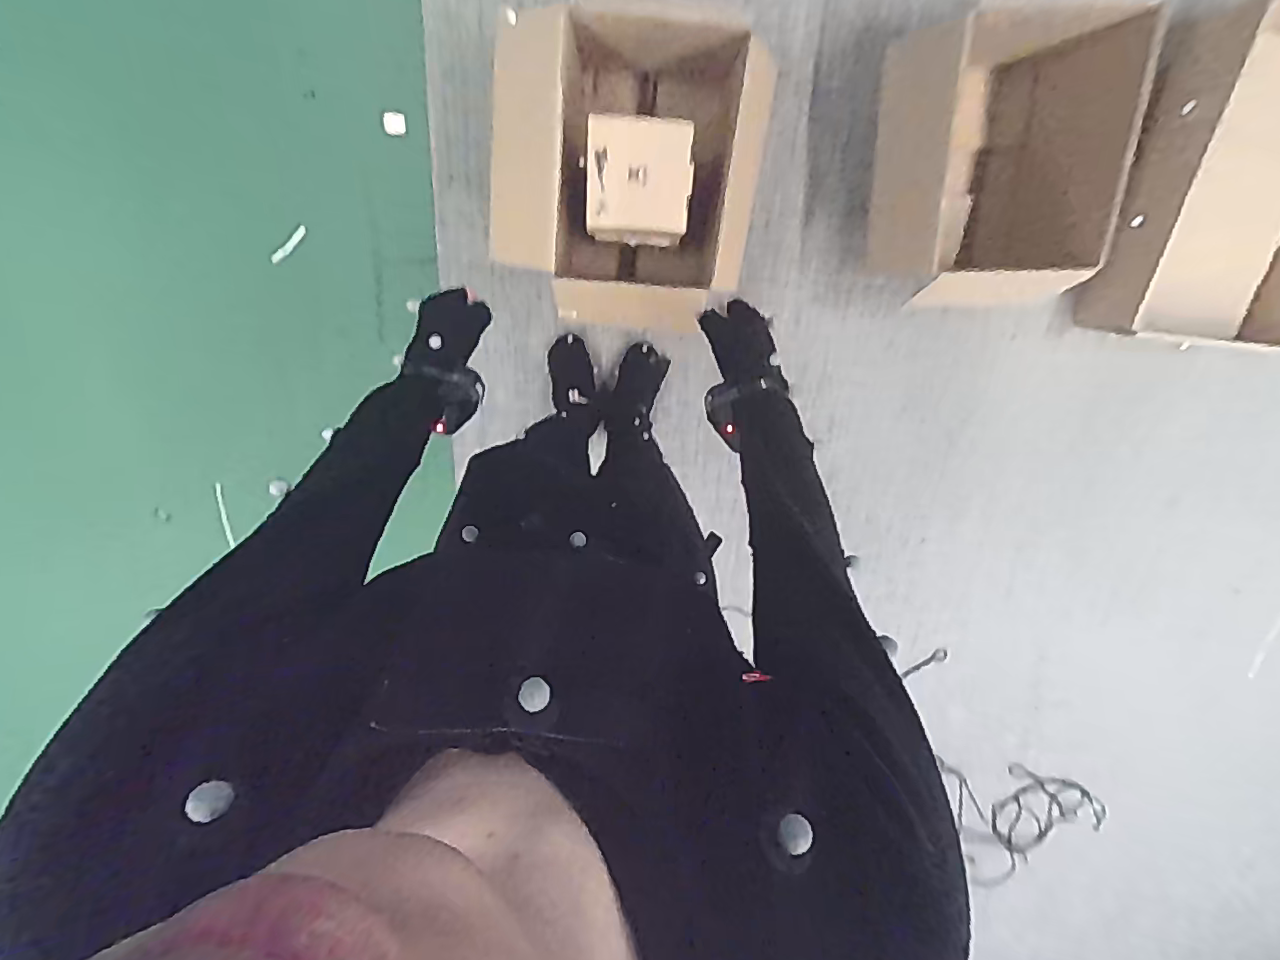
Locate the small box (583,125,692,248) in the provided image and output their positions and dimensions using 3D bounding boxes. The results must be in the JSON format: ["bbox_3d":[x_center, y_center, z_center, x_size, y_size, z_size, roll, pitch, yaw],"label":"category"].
[{"bbox_3d":[-0.012,-0.524,0.988,0.179,0.176,0.168,2,109,-6],"label":"small box"}]
